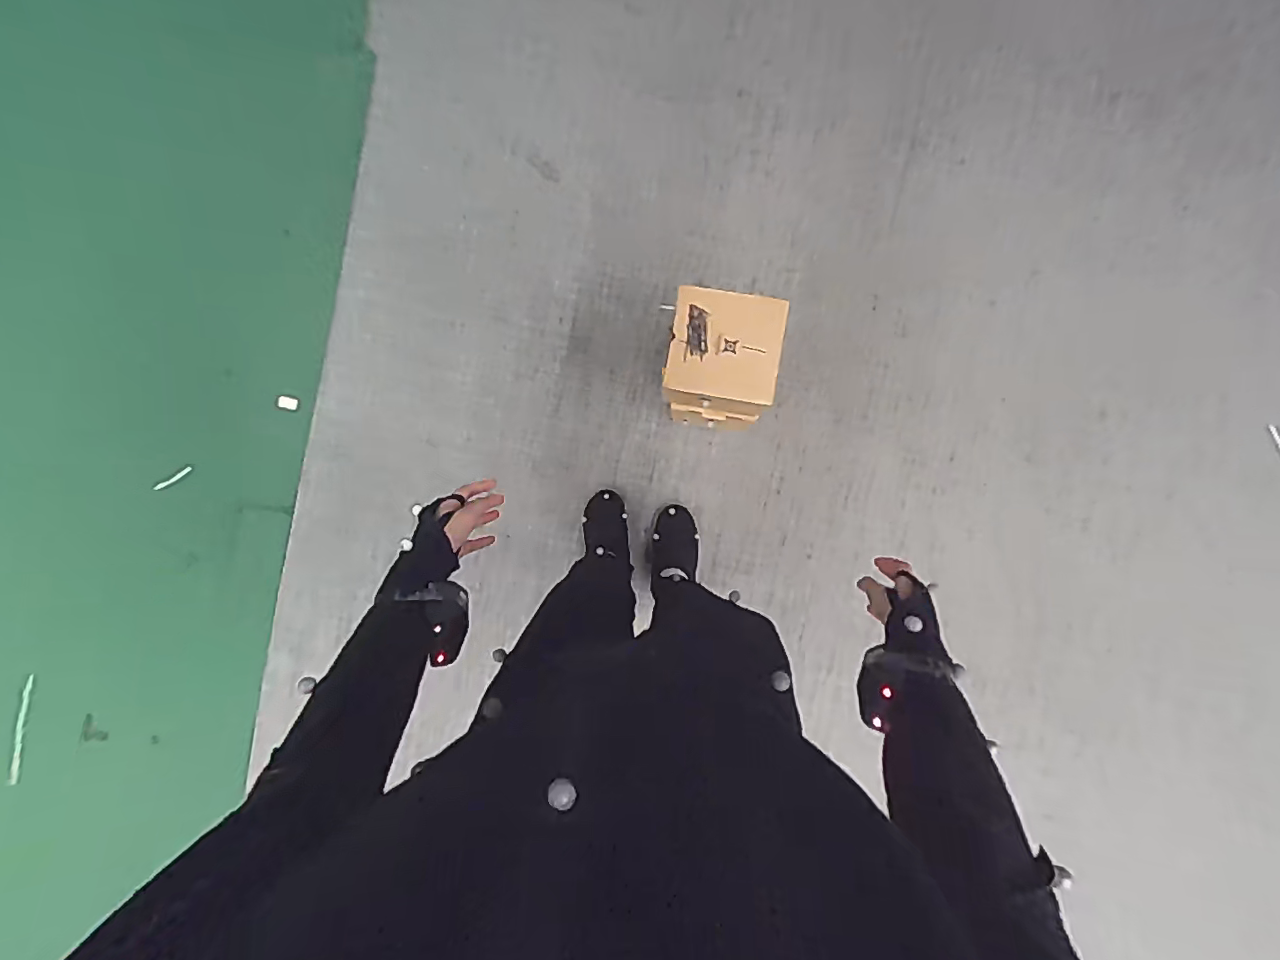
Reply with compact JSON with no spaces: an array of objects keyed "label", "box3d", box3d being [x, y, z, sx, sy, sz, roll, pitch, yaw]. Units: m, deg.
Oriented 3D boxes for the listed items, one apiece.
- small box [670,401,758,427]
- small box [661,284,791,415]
[{"label":"small box","box3d":[0.157,-0.205,1.078,0.168,0.176,0.179,10,92,3]},{"label":"small box","box3d":[0.138,-0.210,0.913,0.179,0.176,0.168,10,91,3]}]
